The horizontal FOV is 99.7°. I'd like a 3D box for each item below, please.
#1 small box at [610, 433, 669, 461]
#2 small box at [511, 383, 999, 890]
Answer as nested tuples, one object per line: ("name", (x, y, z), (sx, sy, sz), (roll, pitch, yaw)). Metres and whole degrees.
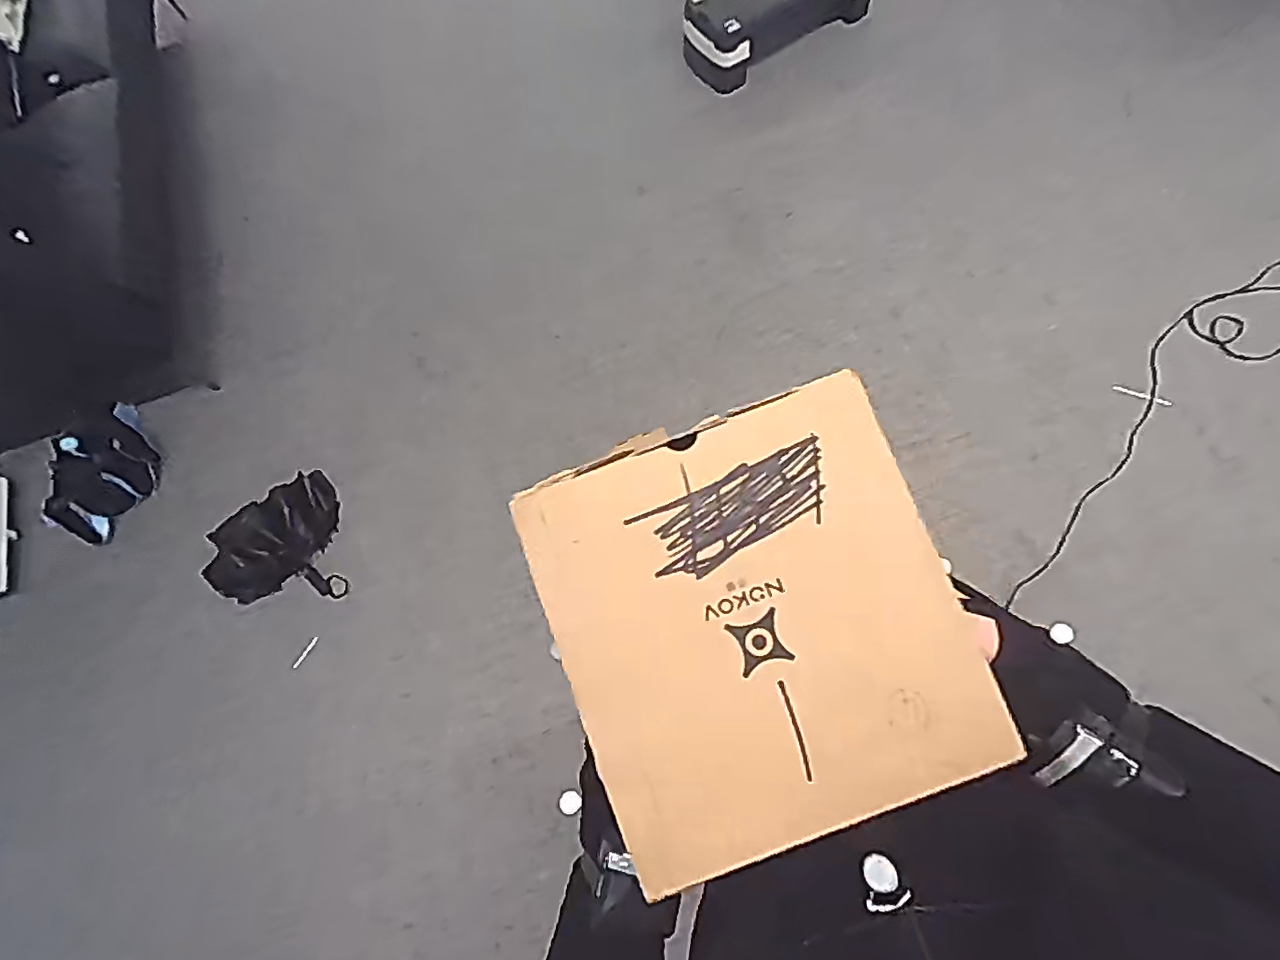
("small box", (0.033, 0.002, 1.493), (0.168, 0.176, 0.179), (-23, 71, 1))
("small box", (0.047, 0.072, 0.314), (0.168, 0.176, 0.179), (-22, 83, 0))
